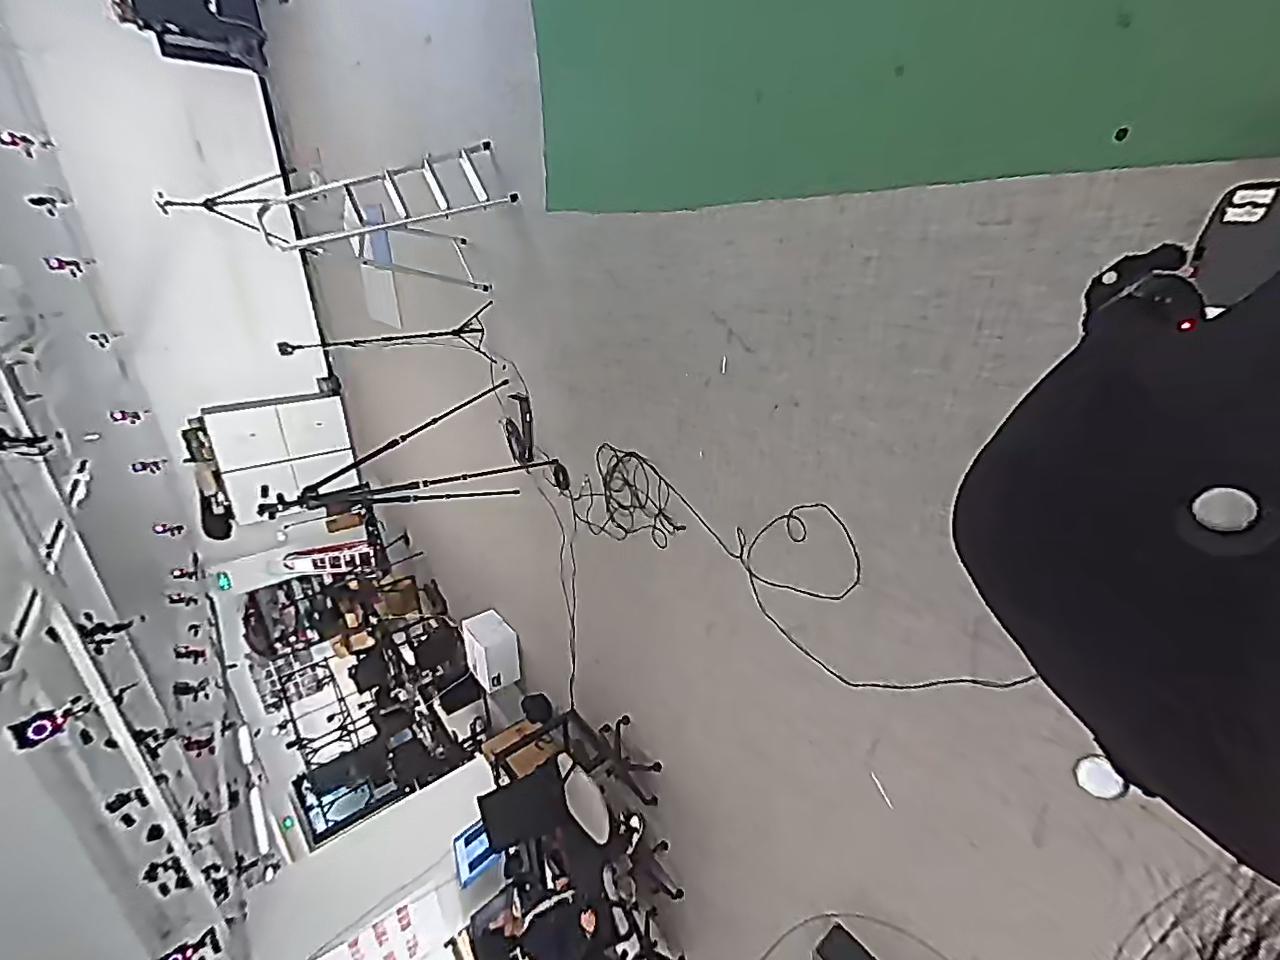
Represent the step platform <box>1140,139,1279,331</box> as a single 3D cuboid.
[{"bbox_3d":[1.173,-0.335,0.742,0.684,0.204,0.286,25,125,46],"label":"step platform"}]
